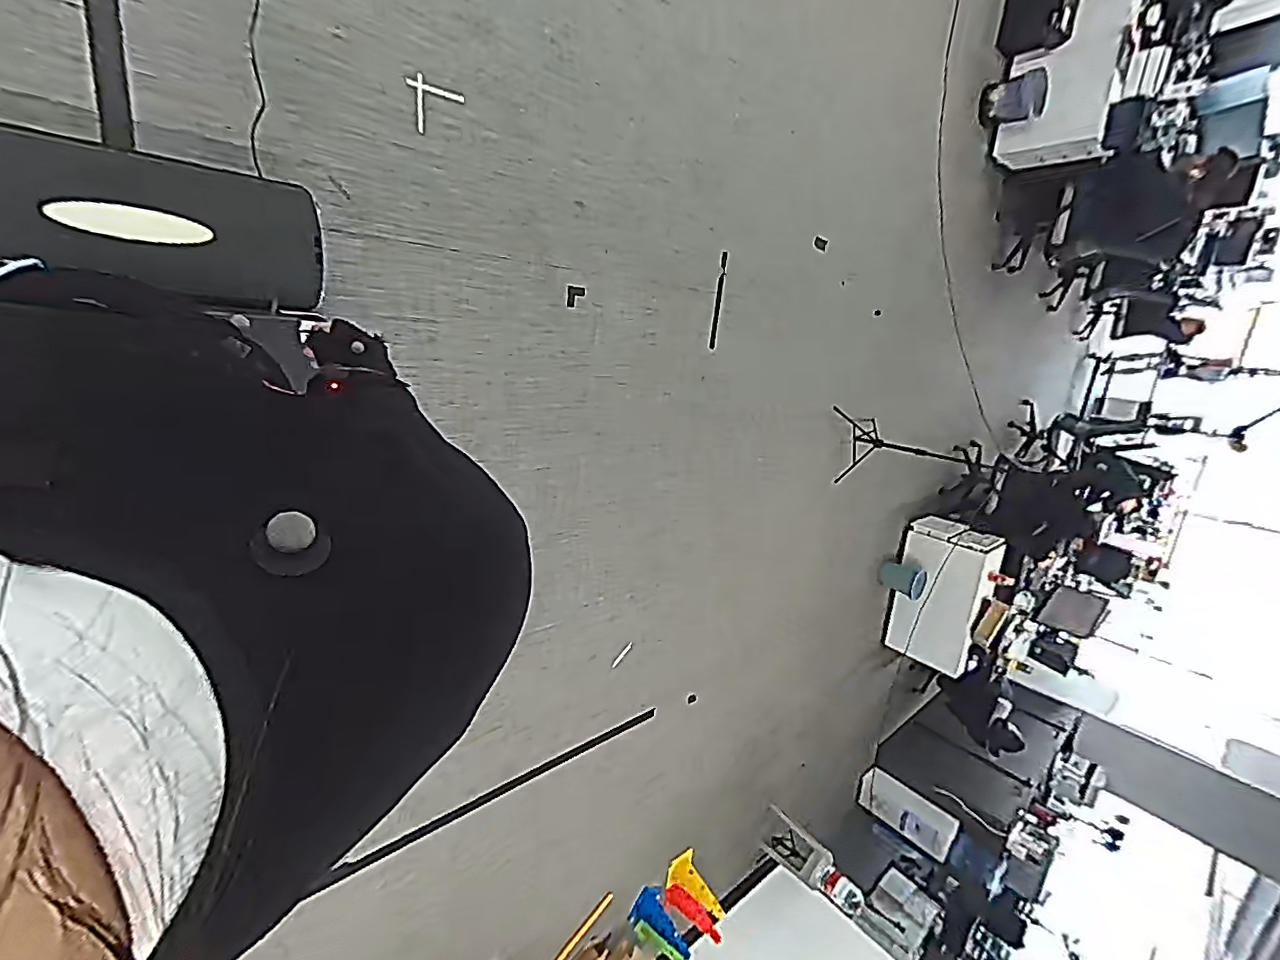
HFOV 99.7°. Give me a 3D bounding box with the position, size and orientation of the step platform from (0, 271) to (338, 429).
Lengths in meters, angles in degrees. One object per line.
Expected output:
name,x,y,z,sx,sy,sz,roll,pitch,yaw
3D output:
step platform,-1.030,-0.267,1.146,0.684,0.204,0.286,-9,109,-39
